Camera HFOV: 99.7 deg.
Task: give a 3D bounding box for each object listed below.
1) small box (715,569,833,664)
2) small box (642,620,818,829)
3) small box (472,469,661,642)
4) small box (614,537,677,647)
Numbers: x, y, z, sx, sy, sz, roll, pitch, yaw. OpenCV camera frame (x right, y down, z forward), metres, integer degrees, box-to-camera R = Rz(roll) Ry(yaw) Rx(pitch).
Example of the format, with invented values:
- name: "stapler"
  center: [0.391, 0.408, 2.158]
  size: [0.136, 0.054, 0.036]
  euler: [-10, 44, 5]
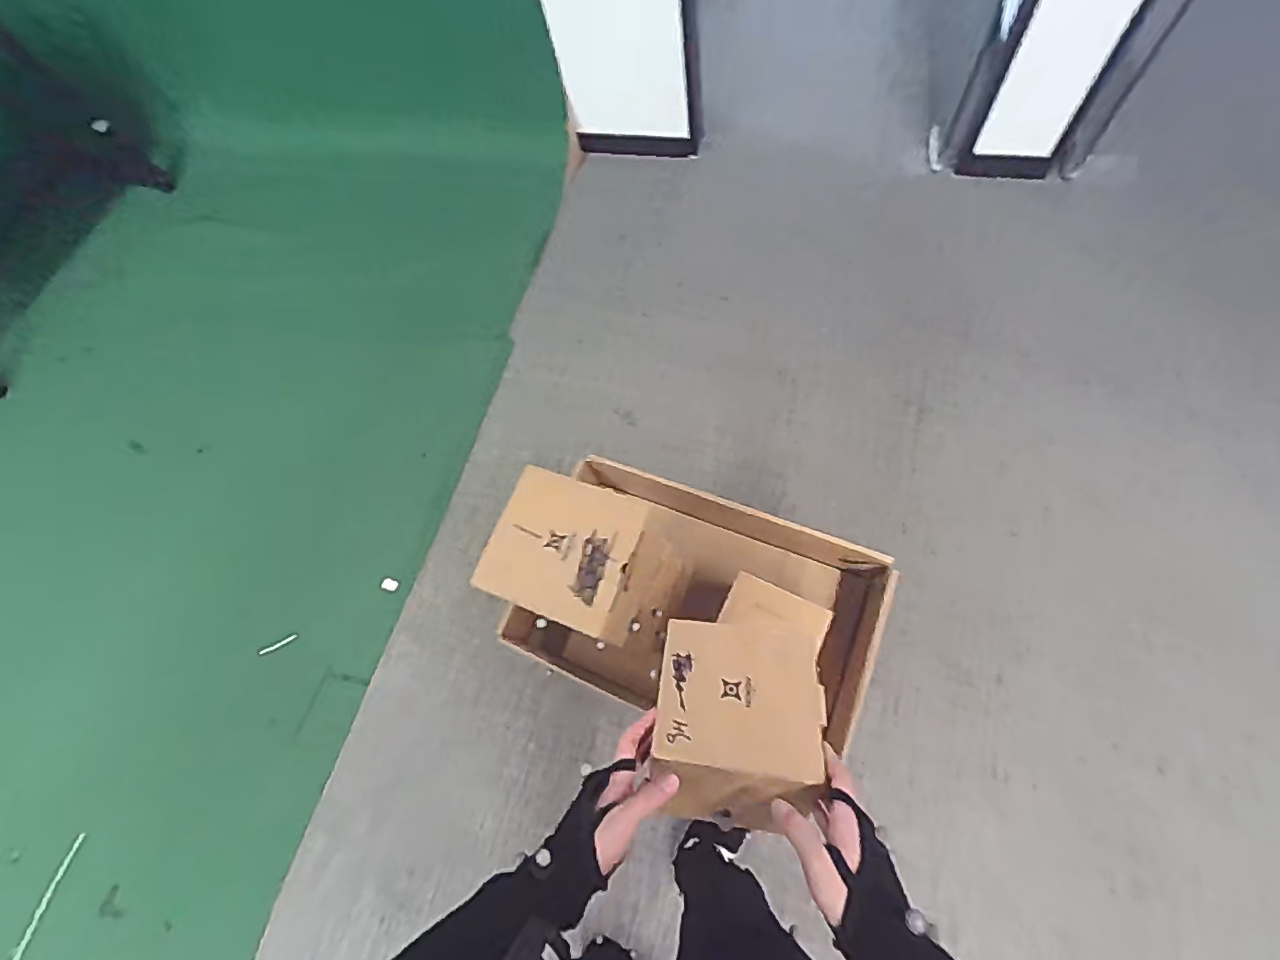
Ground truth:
- name: "small box"
  center: [0.220, 0.283, 0.956]
  size: [0.168, 0.176, 0.179]
  euler: [24, 76, 17]
- name: "small box"
  center: [0.103, 0.294, 0.647]
  size: [0.179, 0.176, 0.168]
  euler: [5, 44, 8]
- name: "small box"
  center: [-0.083, 0.108, 0.725]
  size: [0.179, 0.176, 0.168]
  euler: [18, 74, 16]
- name: "small box"
  center: [-0.053, 0.162, 0.878]
  size: [0.179, 0.176, 0.168]
  euler: [20, 74, 15]
